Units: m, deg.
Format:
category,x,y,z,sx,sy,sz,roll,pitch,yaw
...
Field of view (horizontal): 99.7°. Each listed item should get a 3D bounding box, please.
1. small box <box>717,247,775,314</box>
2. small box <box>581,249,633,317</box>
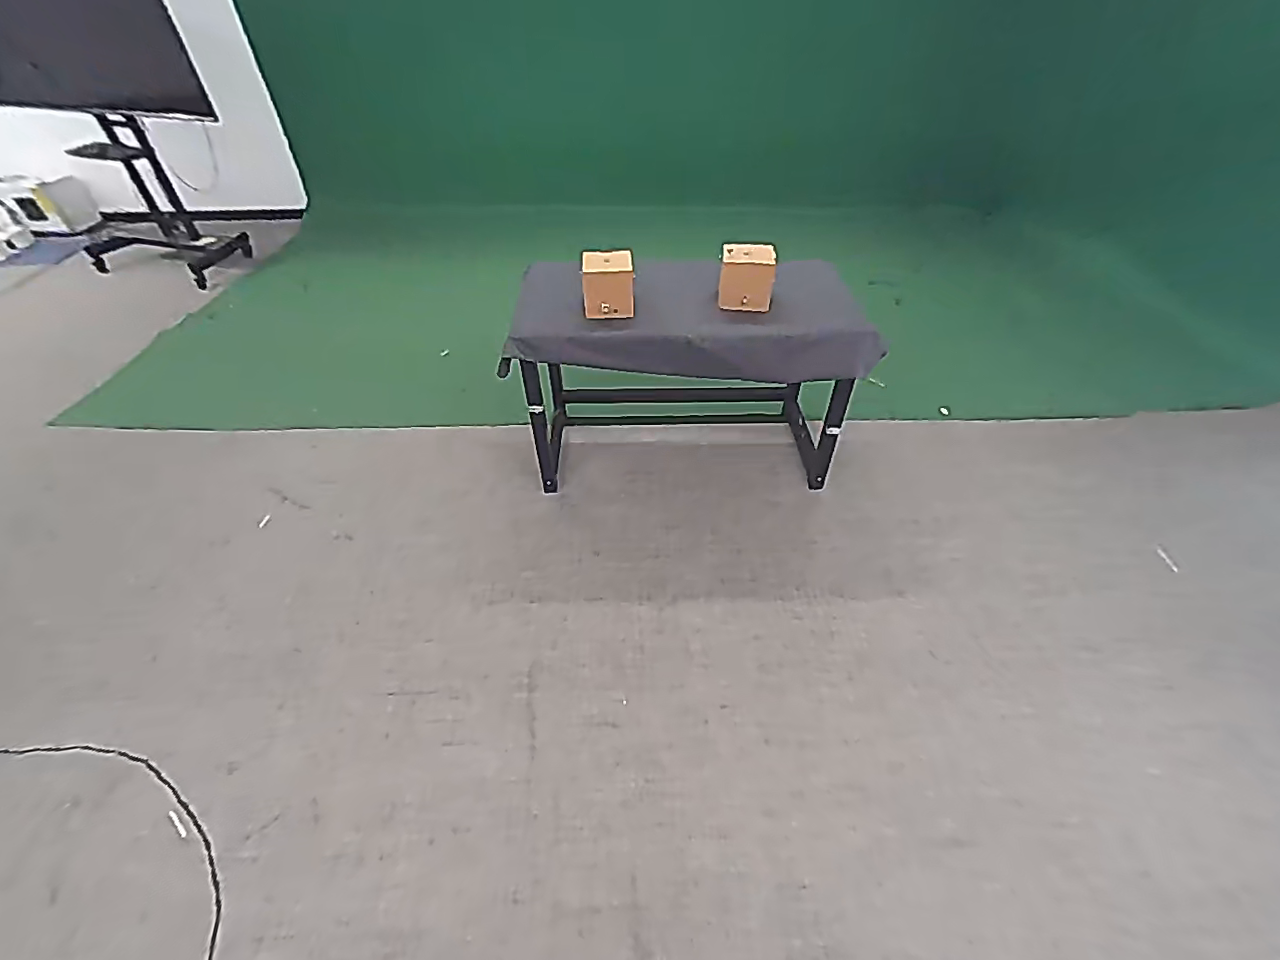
category,x,y,z,sx,sy,sz,roll,pitch,yaw
small box,0.370,-0.699,1.900,0.179,0.176,0.168,5,43,5
small box,-0.110,-0.675,1.854,0.168,0.176,0.179,-3,43,0
